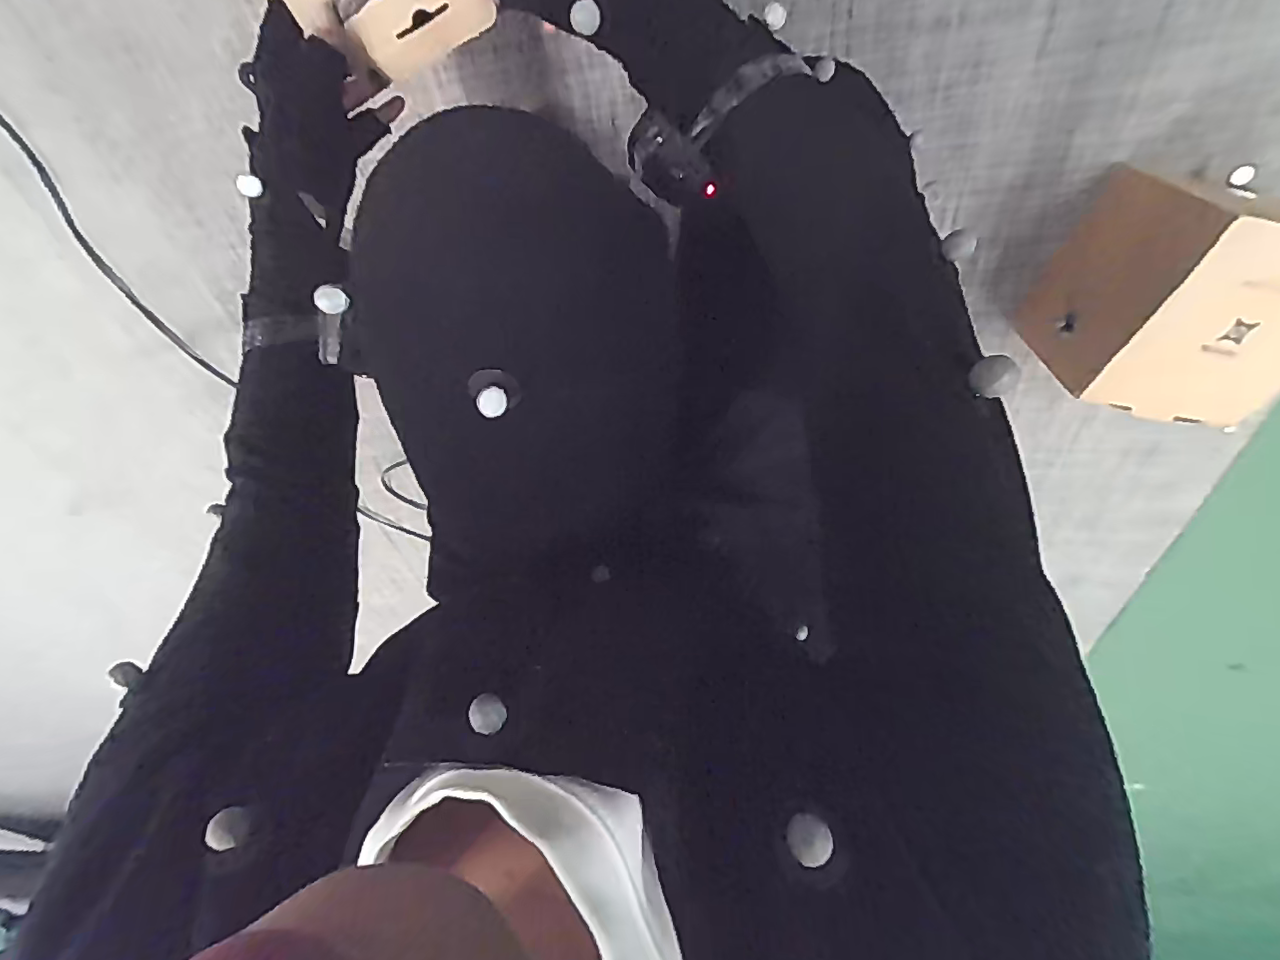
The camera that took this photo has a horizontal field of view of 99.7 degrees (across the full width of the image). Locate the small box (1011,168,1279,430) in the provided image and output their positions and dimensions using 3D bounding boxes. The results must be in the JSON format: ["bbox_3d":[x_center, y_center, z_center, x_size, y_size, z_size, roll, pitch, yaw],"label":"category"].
[{"bbox_3d":[0.512,-0.179,0.534,0.168,0.176,0.179,8,133,-4],"label":"small box"}]
